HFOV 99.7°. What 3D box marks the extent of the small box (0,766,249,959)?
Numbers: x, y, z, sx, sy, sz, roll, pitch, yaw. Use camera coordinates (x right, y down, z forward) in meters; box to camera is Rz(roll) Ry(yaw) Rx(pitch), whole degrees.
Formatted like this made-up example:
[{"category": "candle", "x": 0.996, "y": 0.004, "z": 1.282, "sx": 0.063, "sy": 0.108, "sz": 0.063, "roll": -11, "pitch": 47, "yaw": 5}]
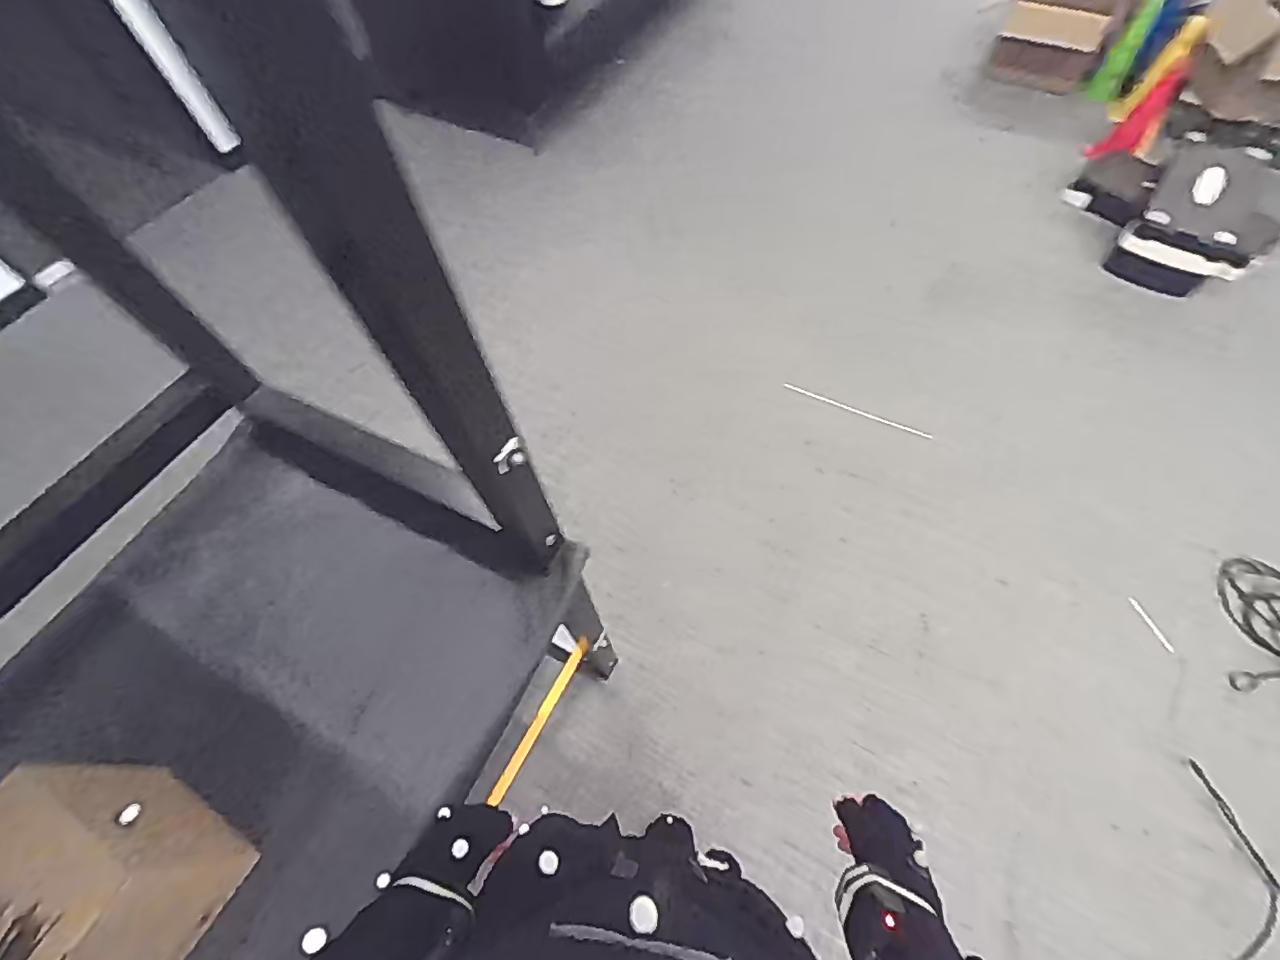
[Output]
[{"category": "small box", "x": -0.536, "y": 0.398, "z": 0.516, "sx": 0.179, "sy": 0.176, "sz": 0.168, "roll": 24, "pitch": 64, "yaw": 17}]
